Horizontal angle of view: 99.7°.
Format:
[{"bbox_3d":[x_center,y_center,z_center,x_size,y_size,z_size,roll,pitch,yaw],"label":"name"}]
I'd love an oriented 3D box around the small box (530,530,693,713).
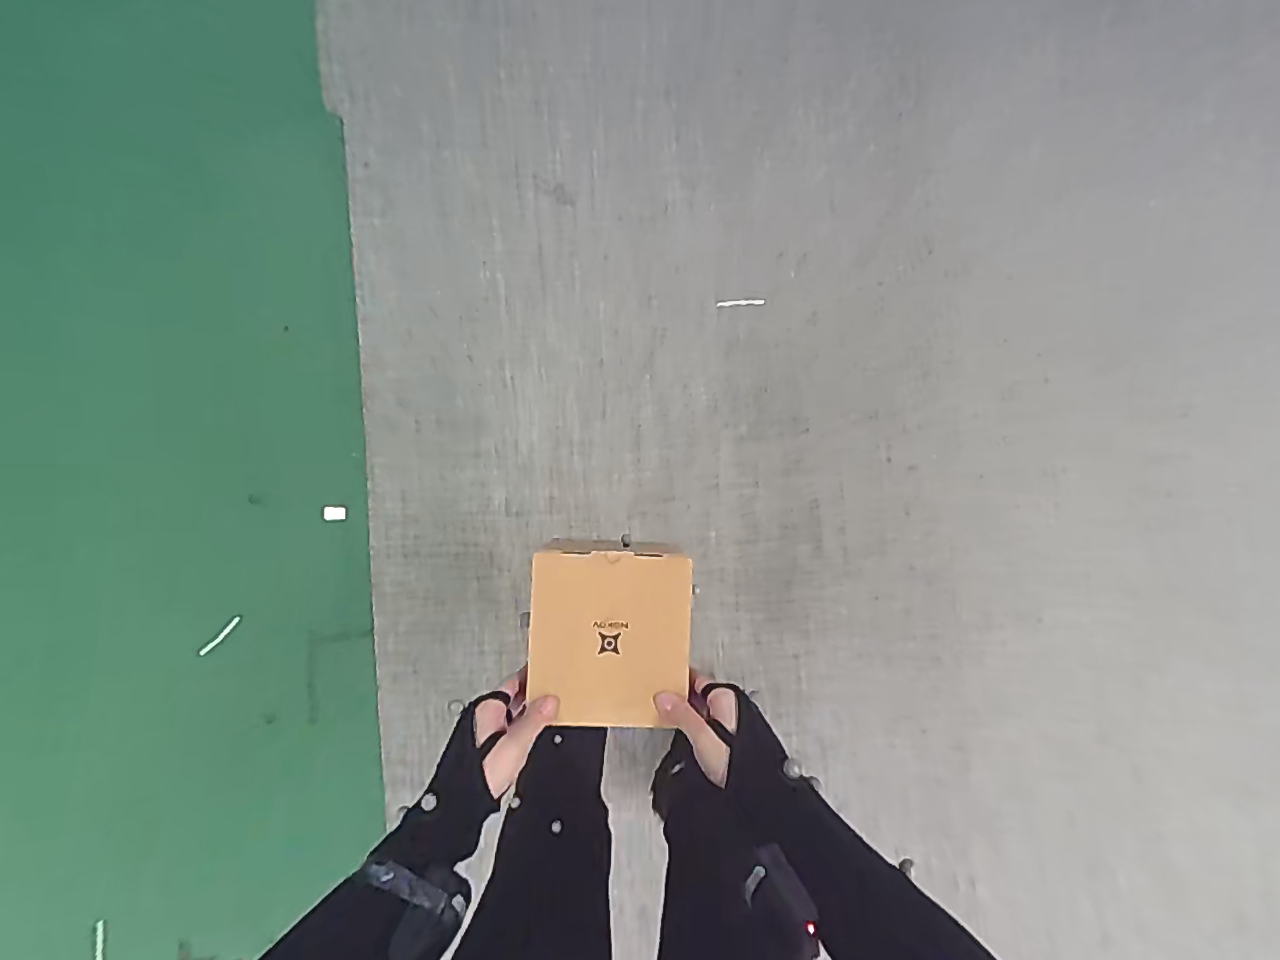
[{"bbox_3d":[-0.030,0.154,0.638,0.168,0.176,0.179,2,87,-1],"label":"small box"}]
